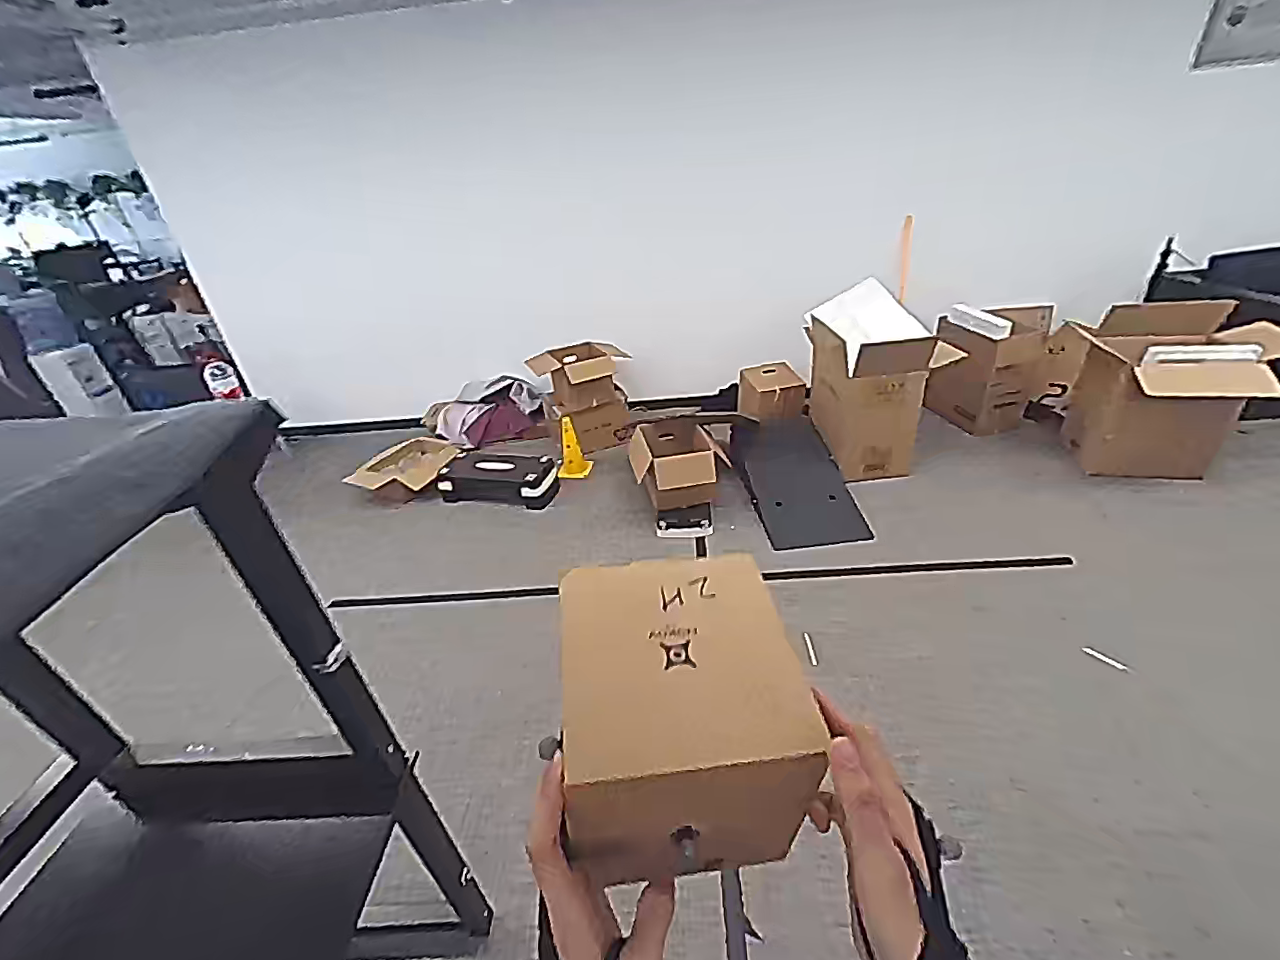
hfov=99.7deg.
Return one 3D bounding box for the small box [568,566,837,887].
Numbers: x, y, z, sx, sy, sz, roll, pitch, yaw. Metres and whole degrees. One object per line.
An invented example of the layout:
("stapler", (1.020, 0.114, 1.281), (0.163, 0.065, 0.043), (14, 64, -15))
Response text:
("small box", (0.029, 0.193, 0.432), (0.168, 0.176, 0.179), (-3, 35, -7))
